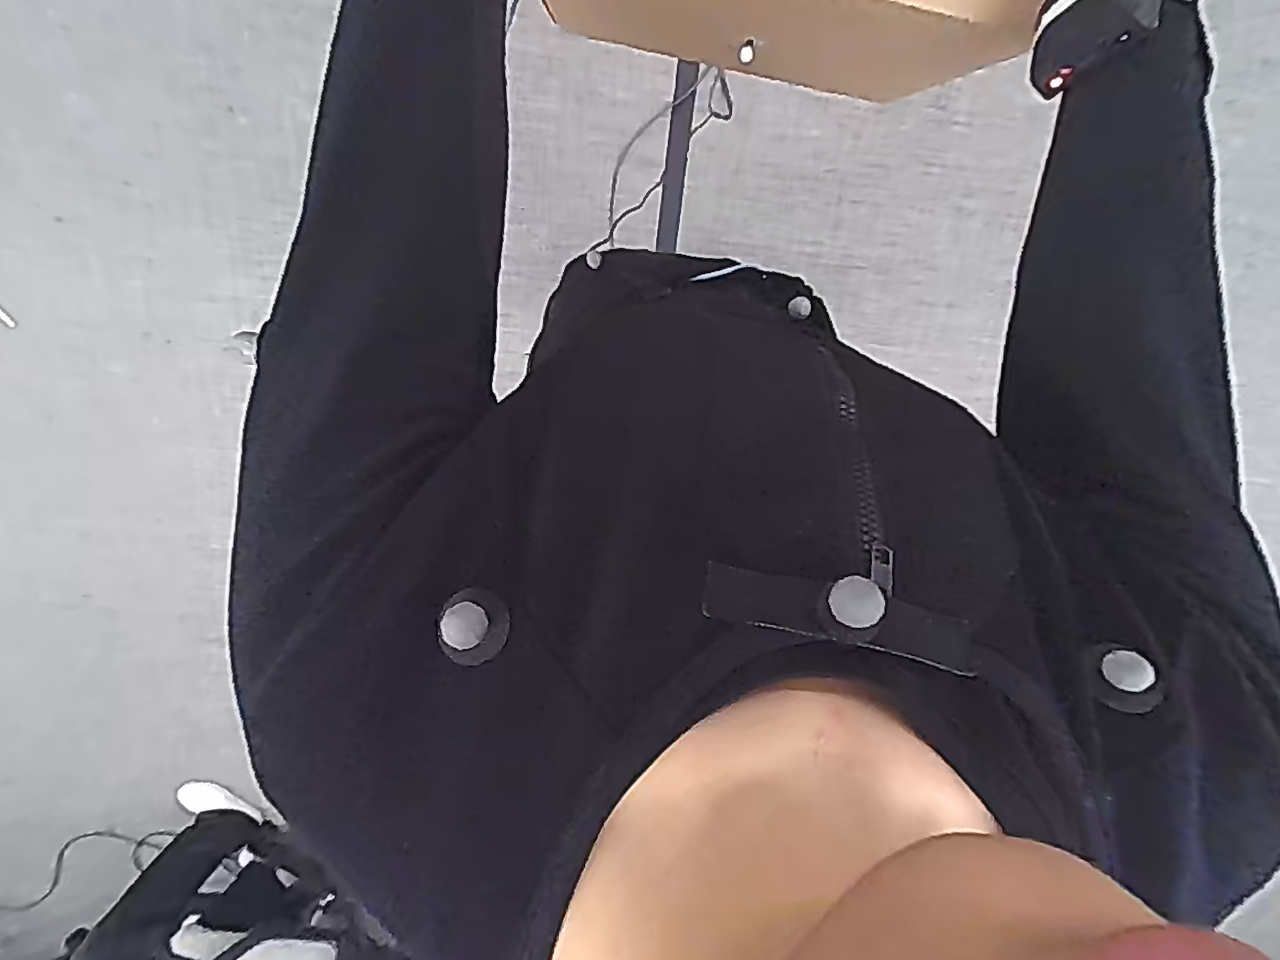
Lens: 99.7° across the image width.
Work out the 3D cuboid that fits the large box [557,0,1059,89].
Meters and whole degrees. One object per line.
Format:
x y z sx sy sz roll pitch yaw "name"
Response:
0.131 -0.560 0.442 0.408 0.320 0.320 9 117 -4 "large box"
